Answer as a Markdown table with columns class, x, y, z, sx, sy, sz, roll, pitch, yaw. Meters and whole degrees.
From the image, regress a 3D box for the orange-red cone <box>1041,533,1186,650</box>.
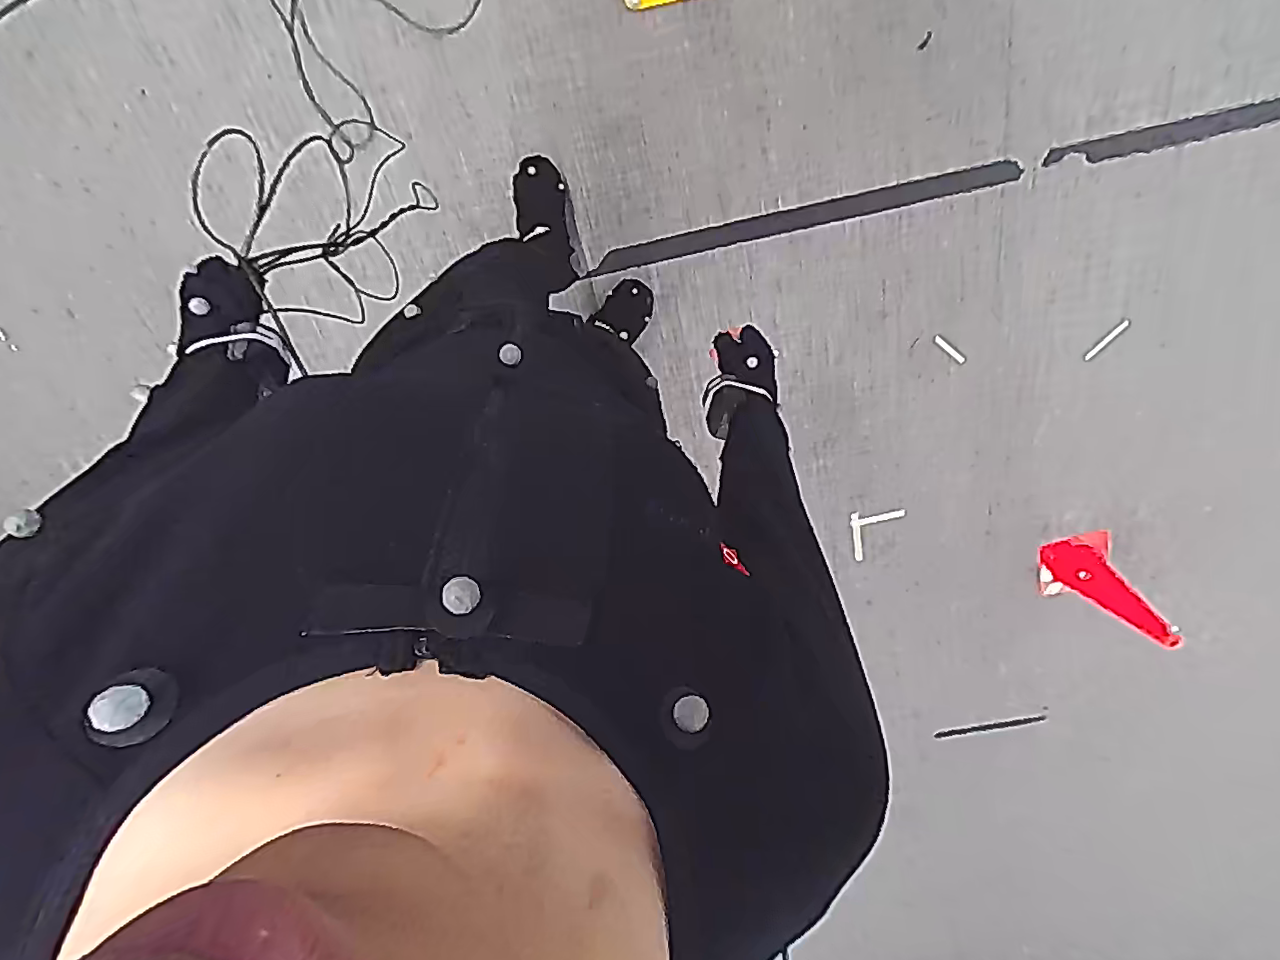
| class | x | y | z | sx | sy | sz | roll | pitch | yaw |
| --- | --- | --- | --- | --- | --- | --- | --- | --- | --- |
| orange-red cone | 1.342 | 0.334 | 1.504 | 0.199 | 0.360 | 0.198 | -16 | 115 | 6 |
